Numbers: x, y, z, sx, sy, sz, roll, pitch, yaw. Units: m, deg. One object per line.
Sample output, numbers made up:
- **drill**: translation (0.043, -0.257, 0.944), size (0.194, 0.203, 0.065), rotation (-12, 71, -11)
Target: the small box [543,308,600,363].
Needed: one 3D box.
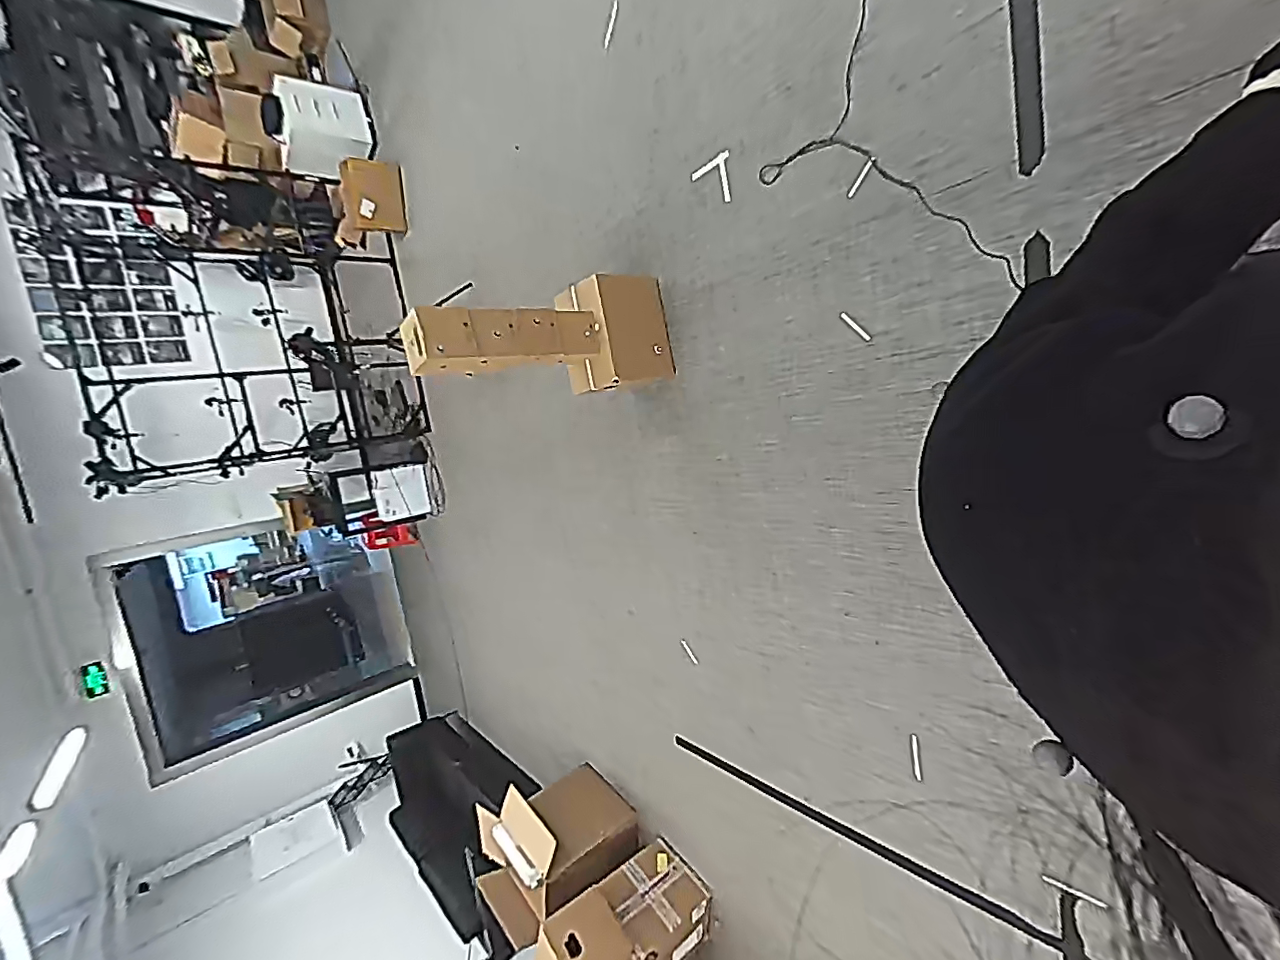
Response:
- **small box**: translation (-0.274, -0.543, 2.043), size (0.179, 0.176, 0.168), rotation (-6, 97, 51)

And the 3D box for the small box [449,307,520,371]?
- **small box**: translation (-0.522, -0.479, 1.839), size (0.179, 0.176, 0.168), rotation (-14, 89, 52)

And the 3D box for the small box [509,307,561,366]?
- **small box**: translation (-0.395, -0.516, 1.938), size (0.179, 0.176, 0.168), rotation (-8, 95, 53)
